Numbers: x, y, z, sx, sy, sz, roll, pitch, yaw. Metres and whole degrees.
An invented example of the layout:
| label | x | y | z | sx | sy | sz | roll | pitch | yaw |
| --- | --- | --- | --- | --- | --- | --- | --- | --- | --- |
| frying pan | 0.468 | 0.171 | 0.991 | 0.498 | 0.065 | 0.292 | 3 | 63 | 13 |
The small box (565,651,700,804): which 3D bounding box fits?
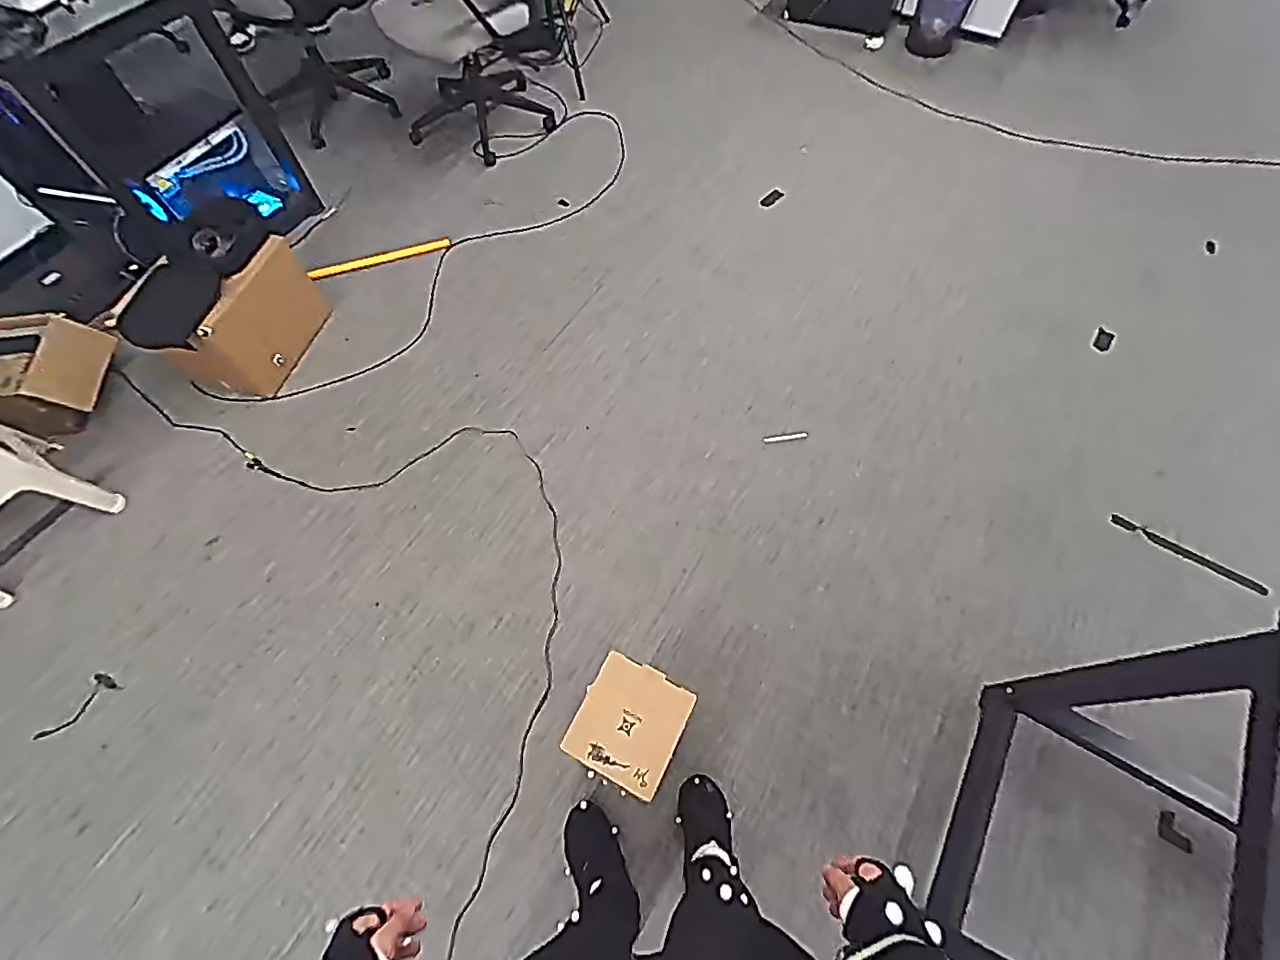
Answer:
| label | x | y | z | sx | sy | sz | roll | pitch | yaw |
| --- | --- | --- | --- | --- | --- | --- | --- | --- | --- |
| small box | -0.012 | 0.431 | 0.944 | 0.168 | 0.176 | 0.179 | 25 | 65 | 12 |
